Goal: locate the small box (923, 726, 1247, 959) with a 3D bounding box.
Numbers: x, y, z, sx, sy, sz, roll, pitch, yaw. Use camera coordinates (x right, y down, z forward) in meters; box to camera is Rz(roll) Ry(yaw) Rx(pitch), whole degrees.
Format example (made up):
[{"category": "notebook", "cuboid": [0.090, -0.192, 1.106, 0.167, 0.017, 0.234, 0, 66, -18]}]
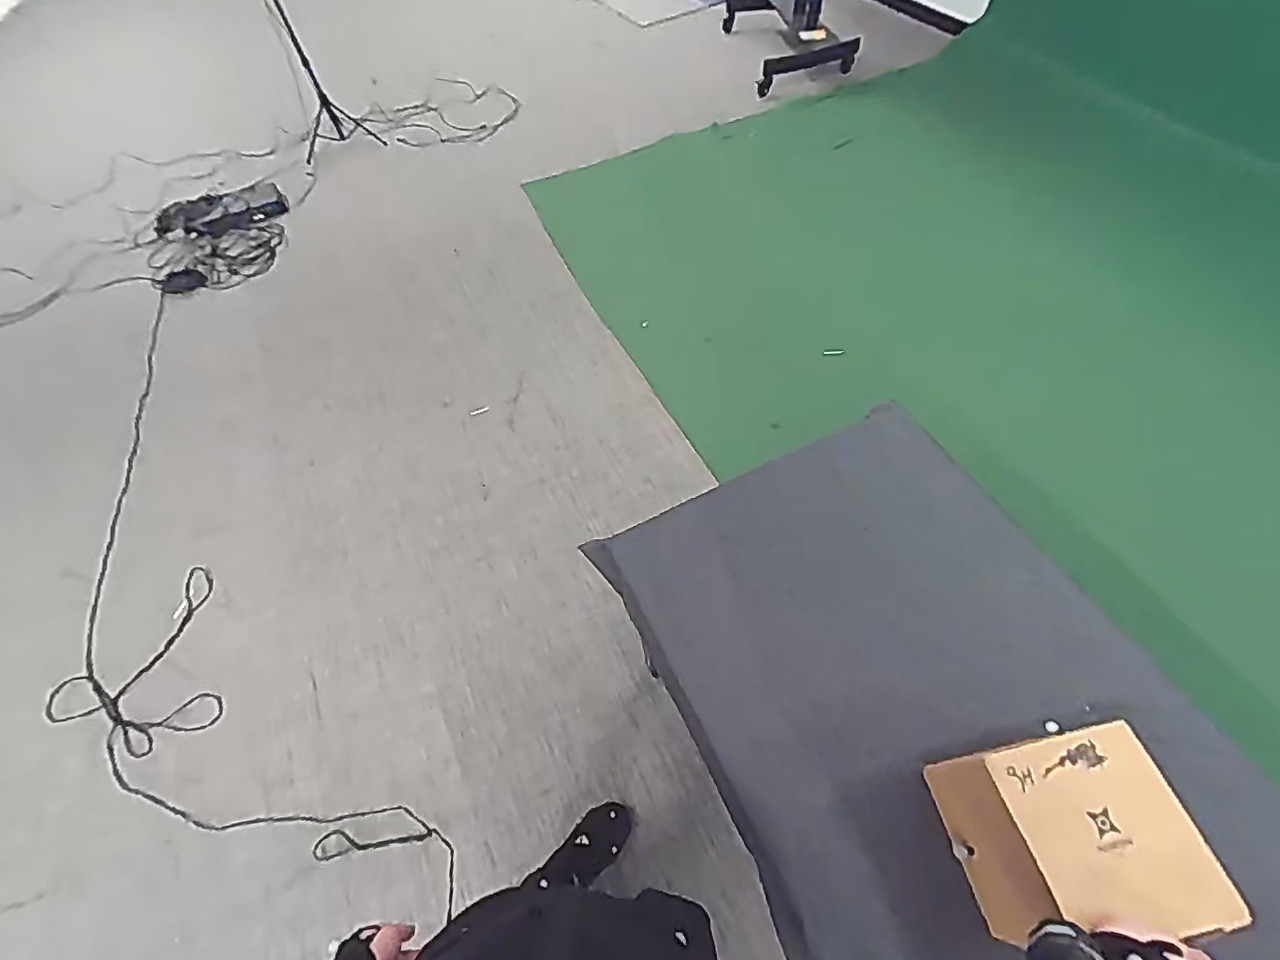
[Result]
[{"category": "small box", "cuboid": [0.449, 0.384, 0.586, 0.168, 0.176, 0.179, -11, 58, -4]}]
